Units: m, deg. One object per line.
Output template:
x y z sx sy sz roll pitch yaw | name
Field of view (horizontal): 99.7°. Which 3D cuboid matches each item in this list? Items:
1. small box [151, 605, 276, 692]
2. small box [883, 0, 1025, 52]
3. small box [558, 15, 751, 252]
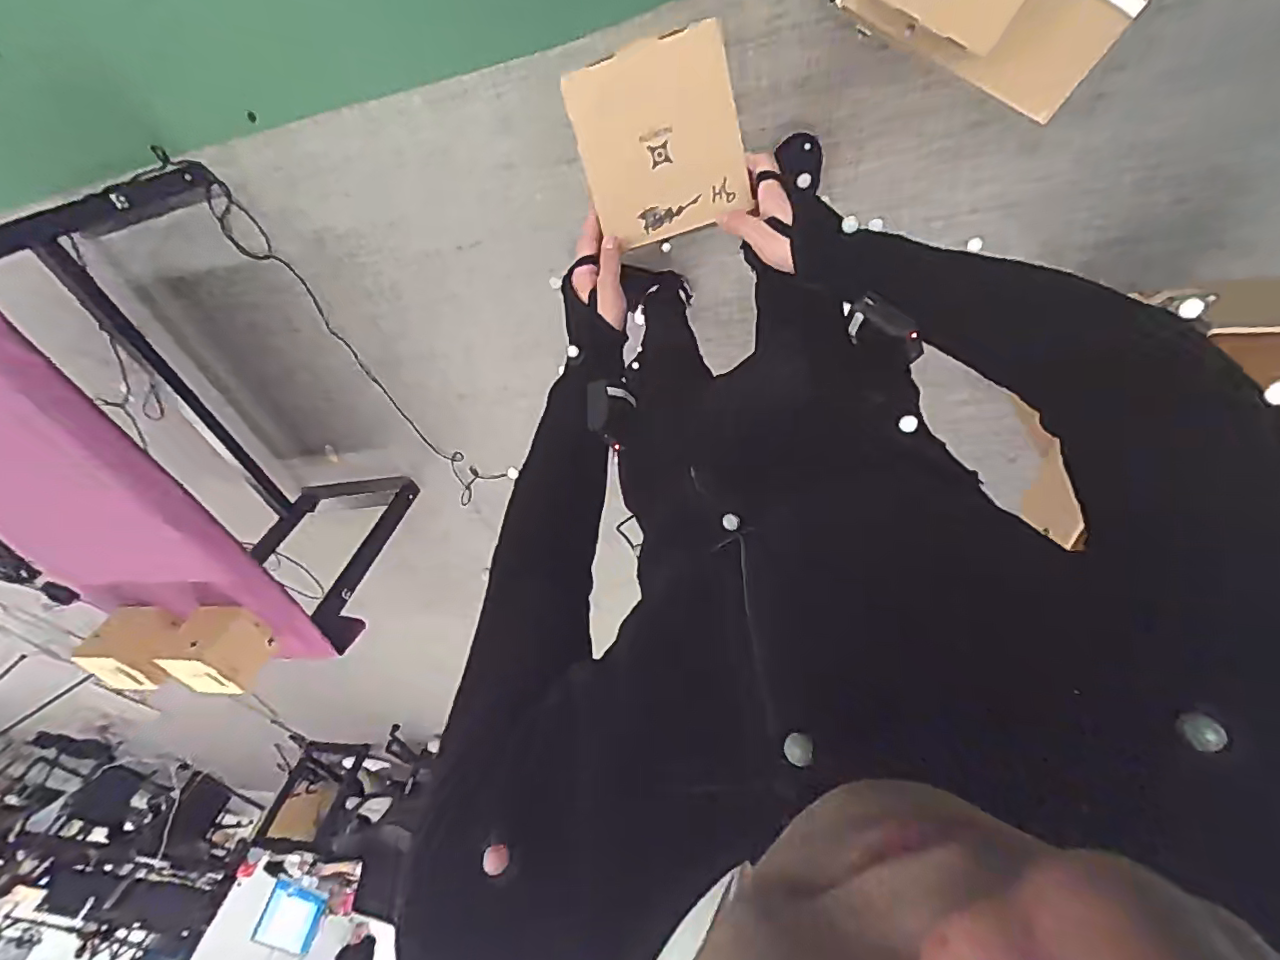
-1.134 0.452 1.461 0.179 0.176 0.168 -4 130 15 | small box
0.421 -0.693 0.687 0.168 0.176 0.179 22 133 -9 | small box
0.023 -0.375 0.626 0.168 0.176 0.179 -13 111 11 | small box
